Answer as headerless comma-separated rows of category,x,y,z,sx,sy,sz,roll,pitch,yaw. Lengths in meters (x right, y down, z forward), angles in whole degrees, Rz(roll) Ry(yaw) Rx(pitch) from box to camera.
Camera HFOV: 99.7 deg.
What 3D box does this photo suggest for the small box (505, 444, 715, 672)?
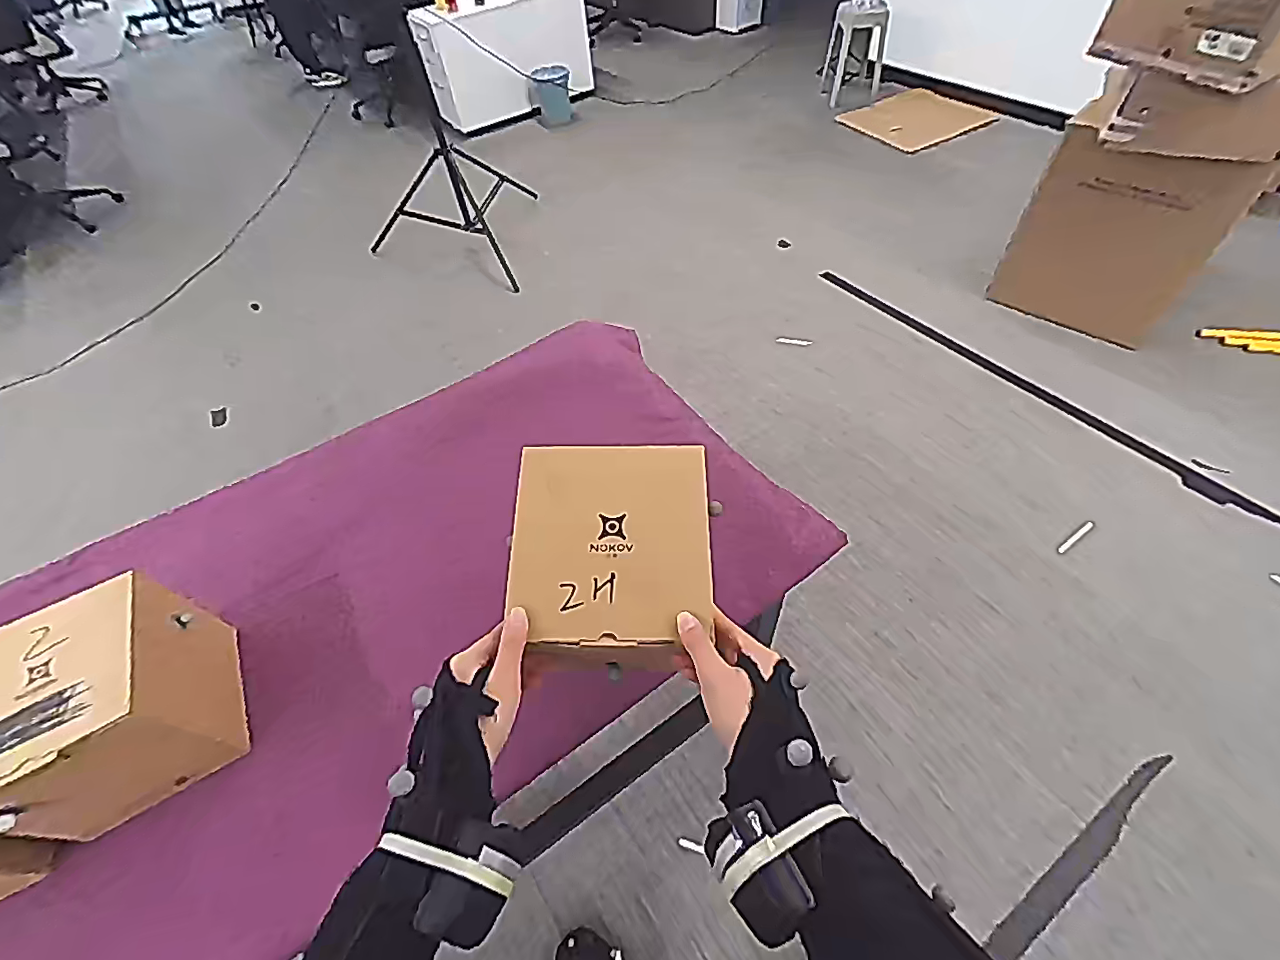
small box,-0.021,0.082,0.523,0.168,0.176,0.179,0,64,1
